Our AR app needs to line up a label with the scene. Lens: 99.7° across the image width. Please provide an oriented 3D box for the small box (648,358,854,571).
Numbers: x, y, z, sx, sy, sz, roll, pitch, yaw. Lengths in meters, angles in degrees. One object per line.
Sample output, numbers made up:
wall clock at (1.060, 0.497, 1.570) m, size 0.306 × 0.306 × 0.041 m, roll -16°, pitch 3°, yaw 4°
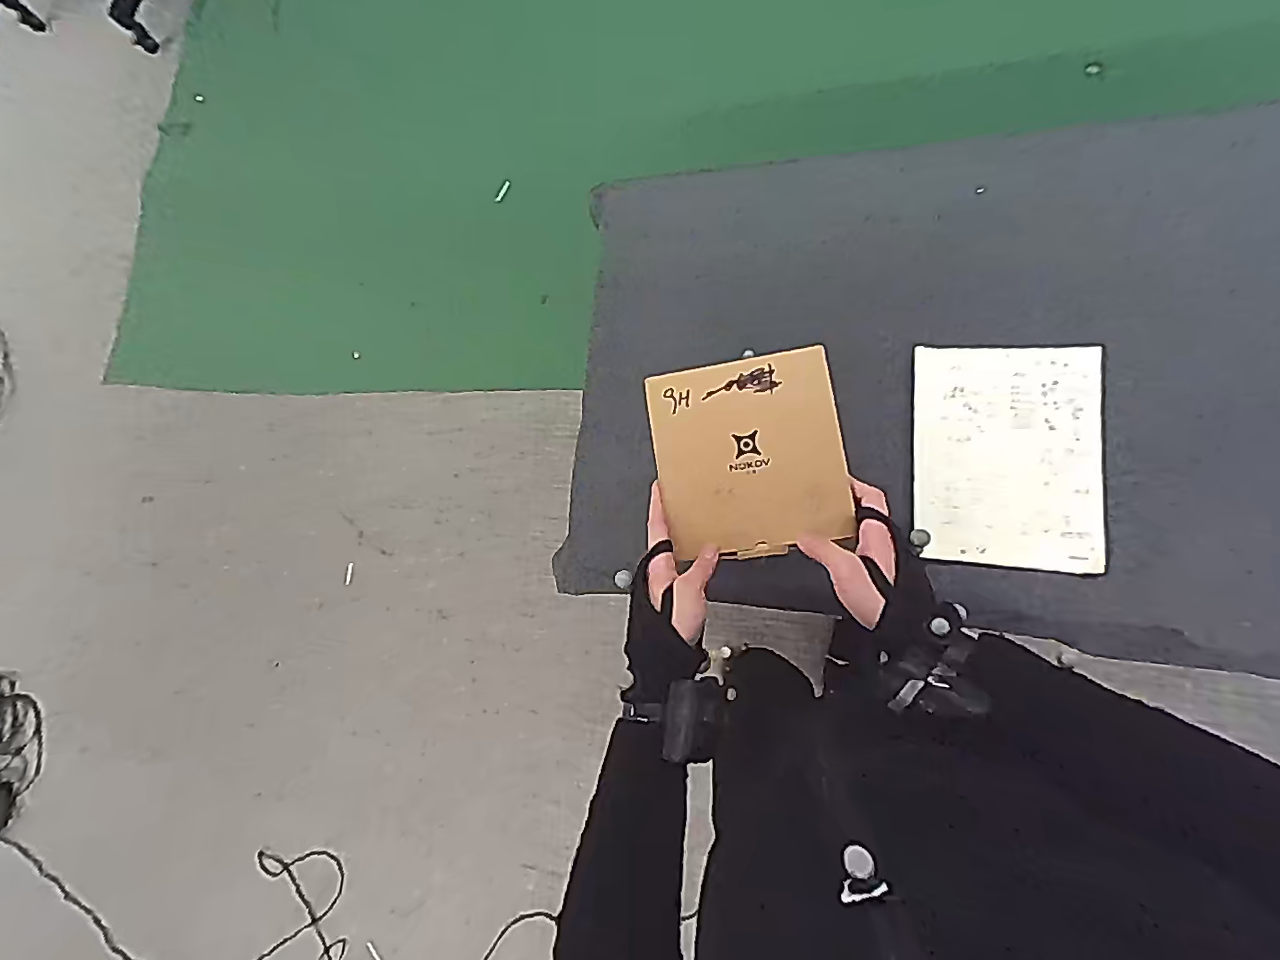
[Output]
small box at (0.111, -0.008, 0.566) m, size 0.168 × 0.176 × 0.179 m, roll -9°, pitch 84°, yaw 9°
